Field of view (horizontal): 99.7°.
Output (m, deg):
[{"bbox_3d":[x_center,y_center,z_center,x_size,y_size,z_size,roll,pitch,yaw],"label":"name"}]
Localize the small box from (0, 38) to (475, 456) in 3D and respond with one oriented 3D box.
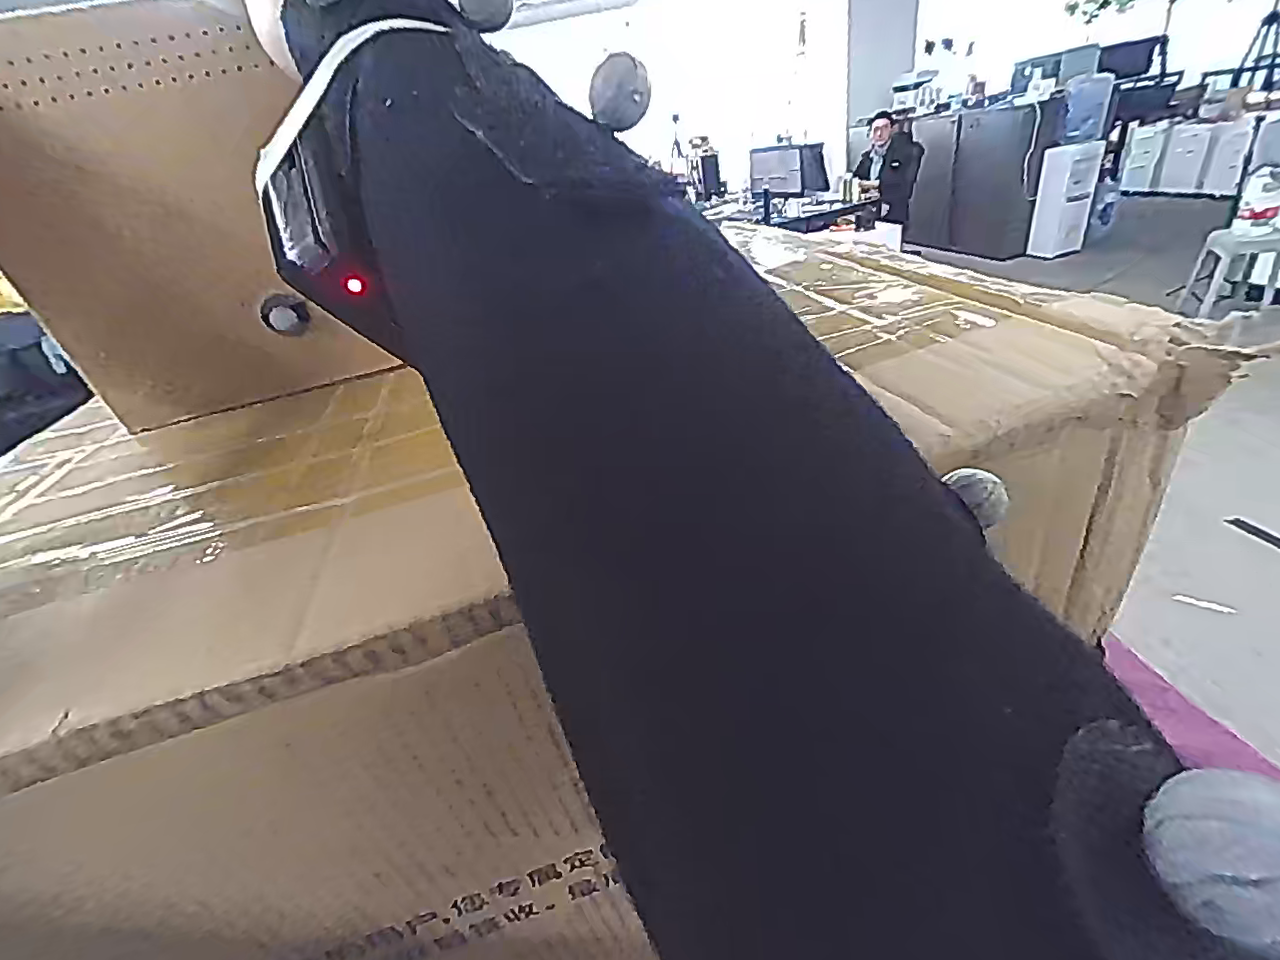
[{"bbox_3d":[-0.216,-0.143,0.330,0.179,0.176,0.168,-17,33,-9],"label":"small box"}]
